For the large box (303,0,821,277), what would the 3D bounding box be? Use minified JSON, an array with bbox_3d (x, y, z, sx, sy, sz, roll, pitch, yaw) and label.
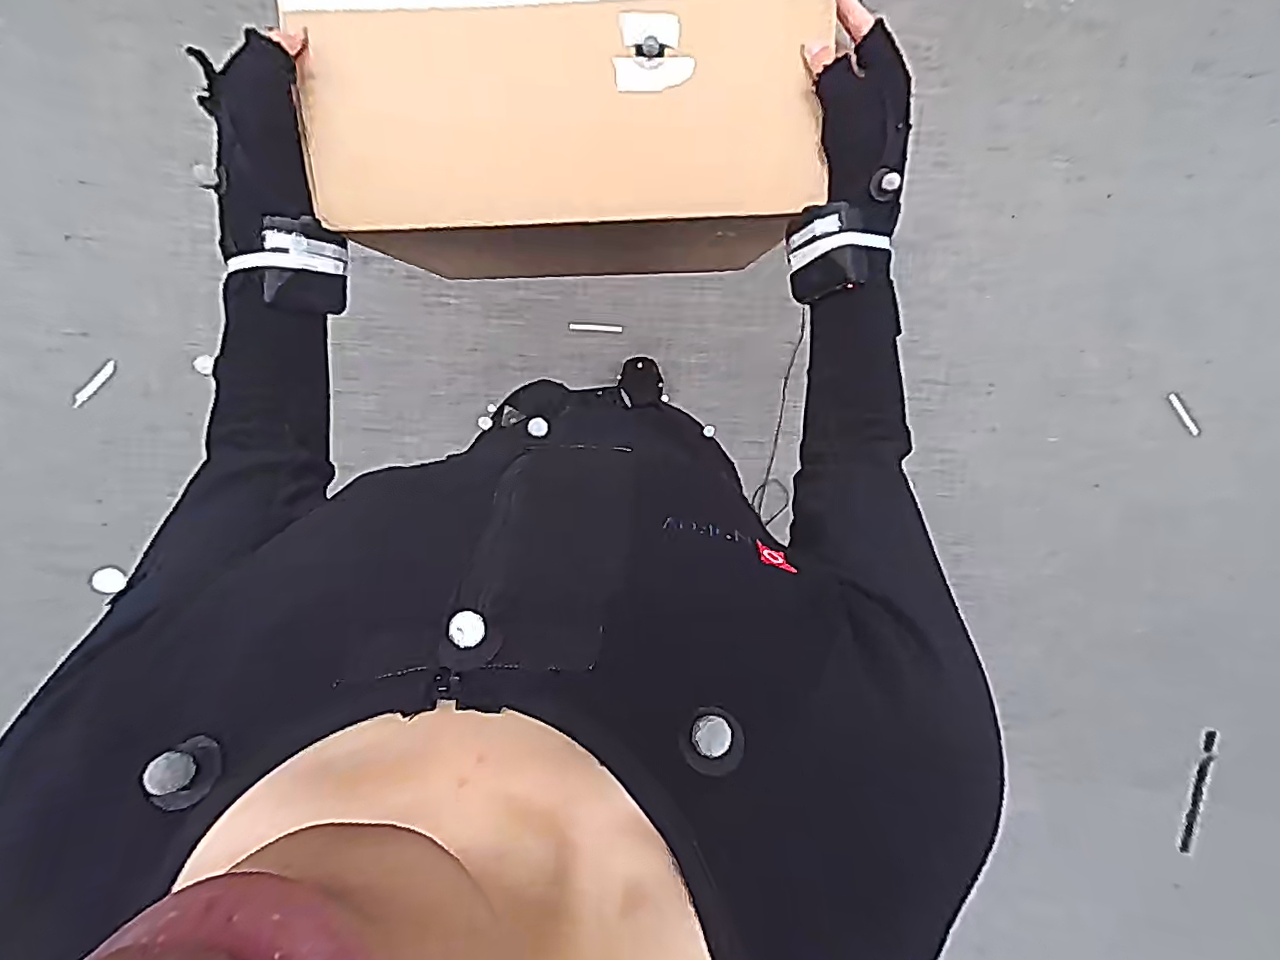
[{"bbox_3d":[-0.064,-0.403,0.556,0.408,0.320,0.320,-3,105,-1],"label":"large box"}]
